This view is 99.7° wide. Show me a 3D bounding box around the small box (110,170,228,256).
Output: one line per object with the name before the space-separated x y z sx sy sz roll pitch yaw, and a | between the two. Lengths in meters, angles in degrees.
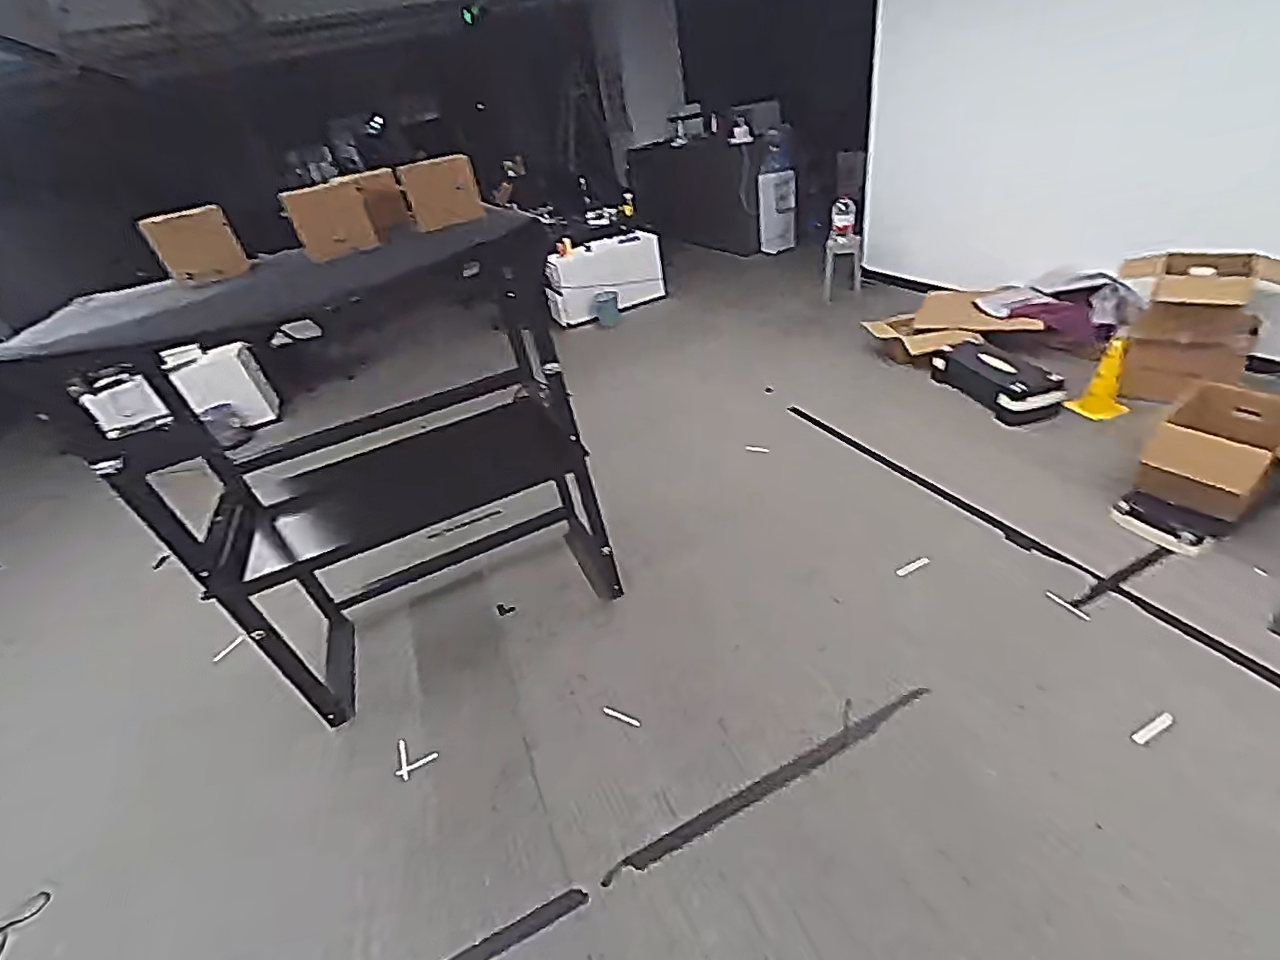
small box | -1.240 -0.710 1.440 0.168 0.176 0.179 -24 37 -18

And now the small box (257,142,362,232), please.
small box | -0.818 -0.728 1.348 0.168 0.176 0.179 -26 38 -19

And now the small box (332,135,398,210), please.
small box | -0.820 -0.886 1.567 0.168 0.176 0.179 -22 37 -14
